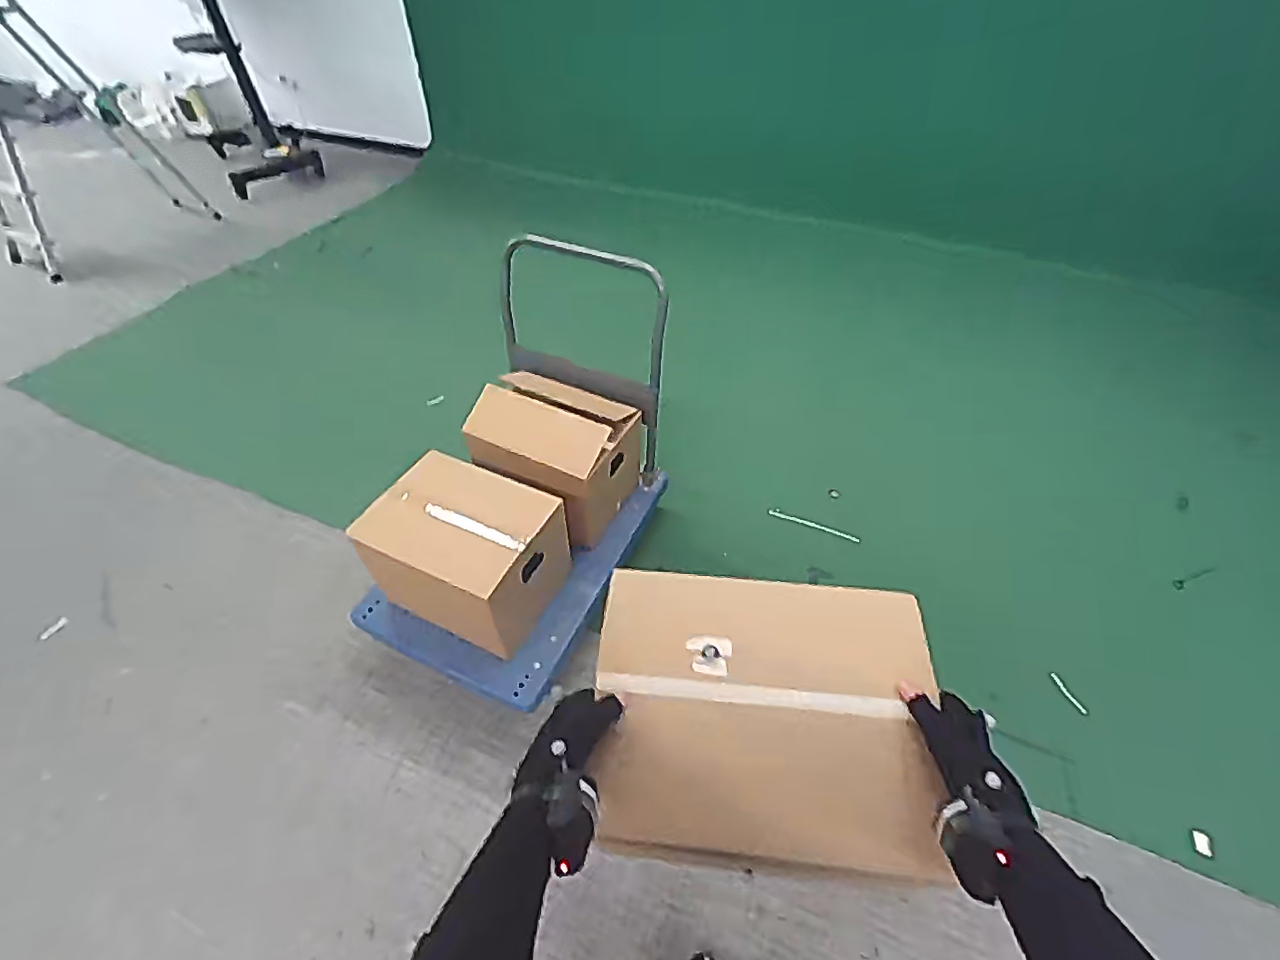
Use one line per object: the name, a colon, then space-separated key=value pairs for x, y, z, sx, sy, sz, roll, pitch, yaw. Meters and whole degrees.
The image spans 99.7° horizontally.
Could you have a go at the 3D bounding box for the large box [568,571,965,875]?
large box: x=0.144 y=0.341 z=0.750 sx=0.408 sy=0.320 sz=0.320 roll=3 pitch=52 yaw=6
